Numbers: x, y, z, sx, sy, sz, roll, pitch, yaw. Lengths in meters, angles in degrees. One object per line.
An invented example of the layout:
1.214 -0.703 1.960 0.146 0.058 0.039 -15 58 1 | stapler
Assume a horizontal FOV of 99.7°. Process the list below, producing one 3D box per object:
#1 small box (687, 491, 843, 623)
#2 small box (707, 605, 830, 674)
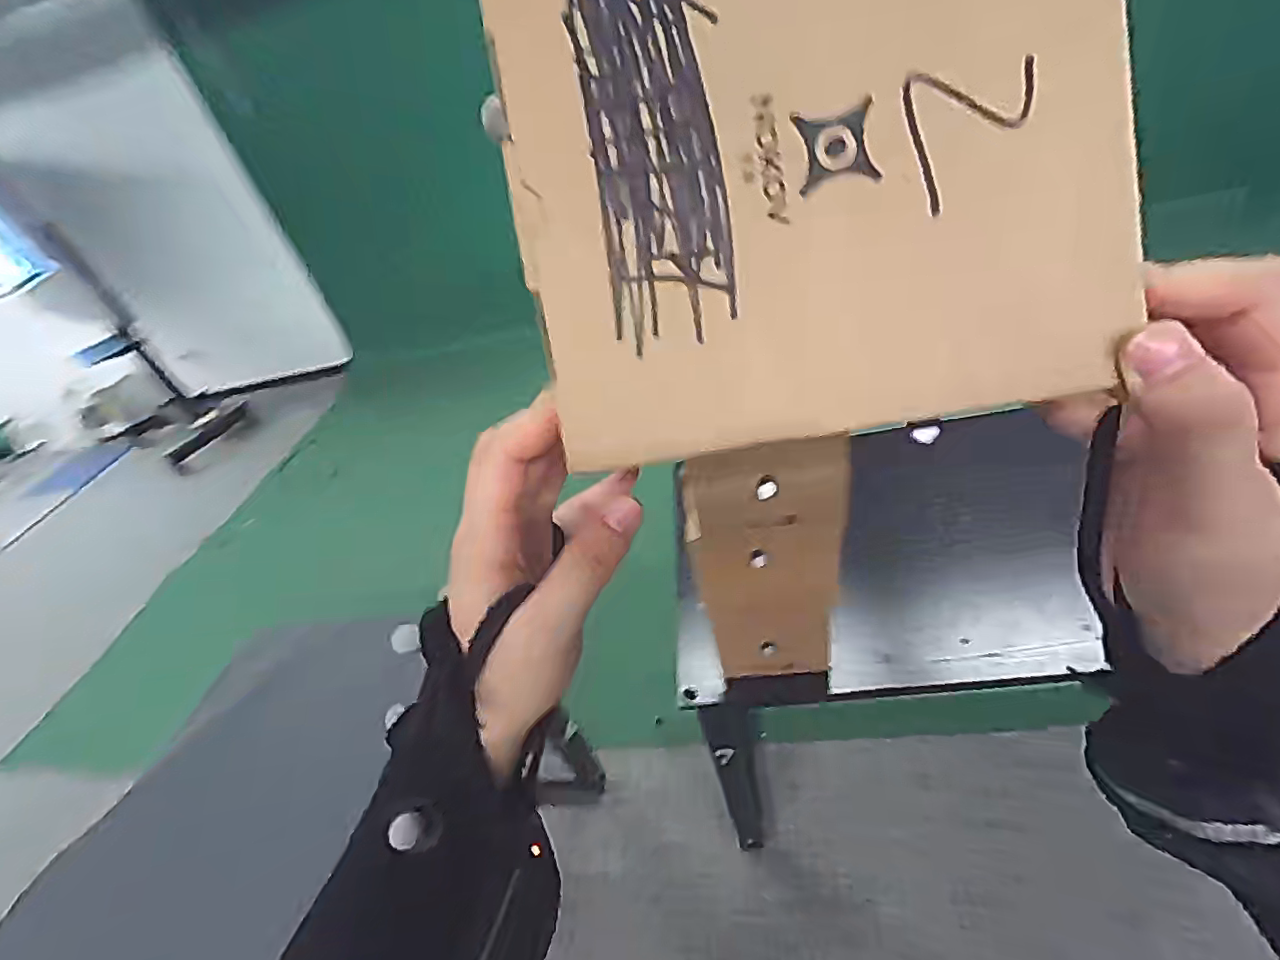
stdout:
0.163 0.072 0.725 0.179 0.176 0.168 -9 39 10 | small box
0.194 0.185 0.839 0.168 0.176 0.179 -8 39 10 | small box
